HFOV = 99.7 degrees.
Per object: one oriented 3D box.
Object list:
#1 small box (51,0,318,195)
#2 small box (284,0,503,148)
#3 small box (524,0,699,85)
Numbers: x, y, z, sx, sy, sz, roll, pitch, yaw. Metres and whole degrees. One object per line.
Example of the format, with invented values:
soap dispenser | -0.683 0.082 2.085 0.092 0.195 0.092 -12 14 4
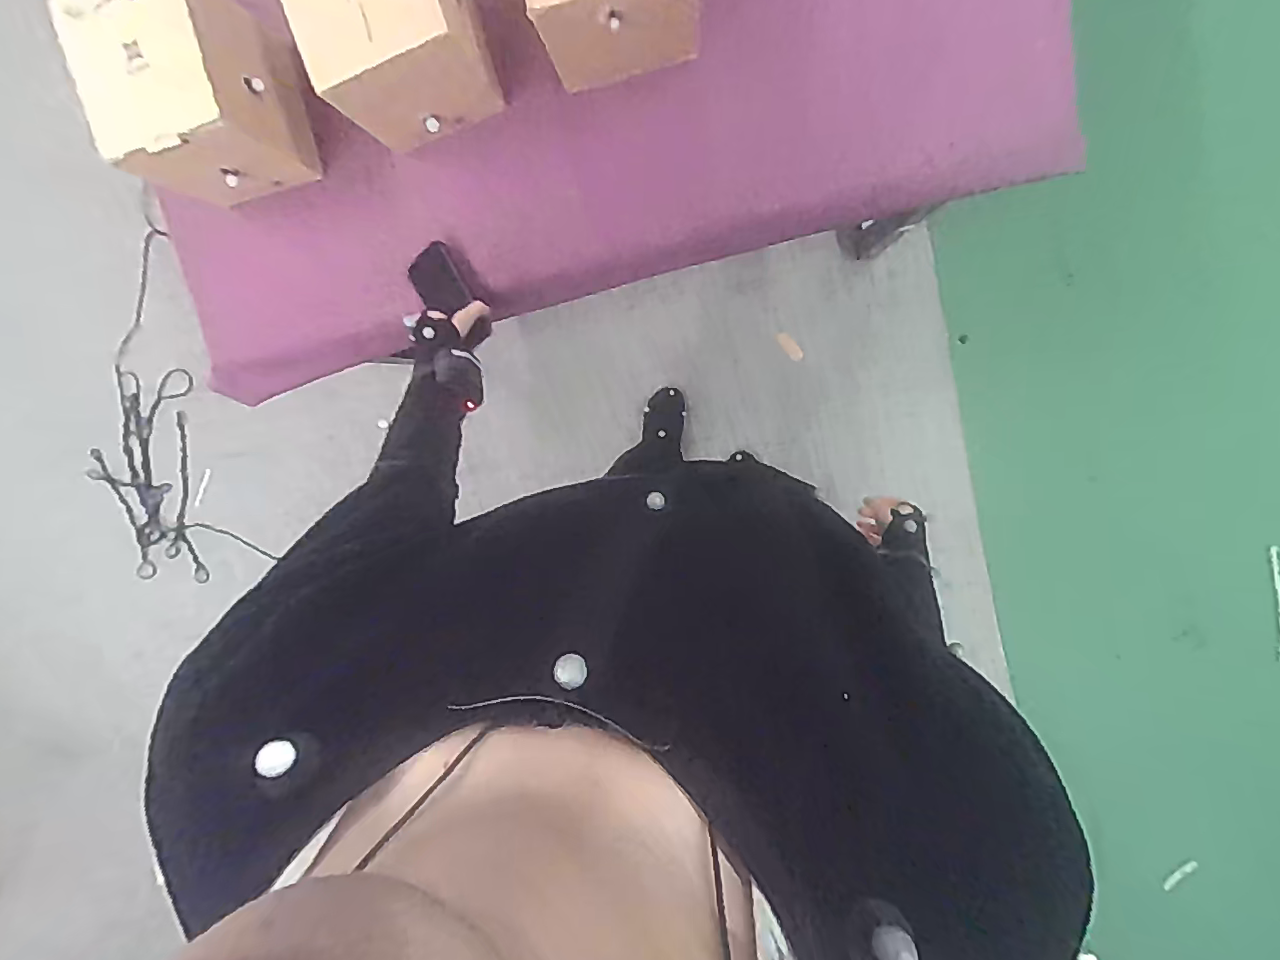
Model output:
small box | -0.546 -0.481 0.676 0.168 0.176 0.179 -11 99 9
small box | -0.286 -0.536 0.634 0.168 0.176 0.179 -16 98 10
small box | -0.033 -0.579 0.595 0.179 0.176 0.168 -8 99 9
